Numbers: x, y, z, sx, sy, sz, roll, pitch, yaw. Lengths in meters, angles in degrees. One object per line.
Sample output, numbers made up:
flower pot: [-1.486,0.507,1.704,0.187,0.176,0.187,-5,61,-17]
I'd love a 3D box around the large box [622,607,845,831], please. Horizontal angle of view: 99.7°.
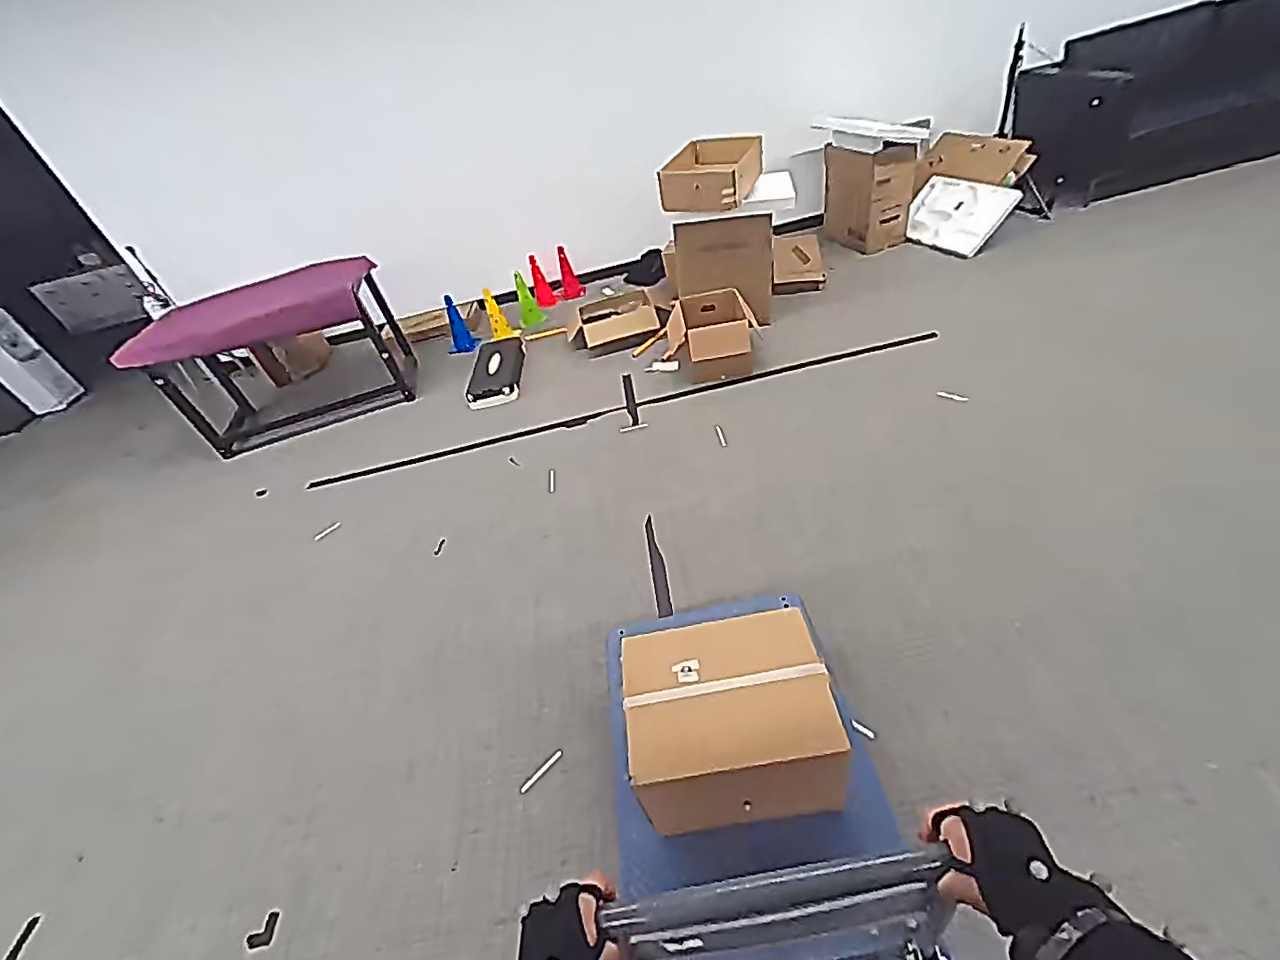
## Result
large box: [0.198,0.532,1.199,0.408,0.320,0.320,-12,39,4]
